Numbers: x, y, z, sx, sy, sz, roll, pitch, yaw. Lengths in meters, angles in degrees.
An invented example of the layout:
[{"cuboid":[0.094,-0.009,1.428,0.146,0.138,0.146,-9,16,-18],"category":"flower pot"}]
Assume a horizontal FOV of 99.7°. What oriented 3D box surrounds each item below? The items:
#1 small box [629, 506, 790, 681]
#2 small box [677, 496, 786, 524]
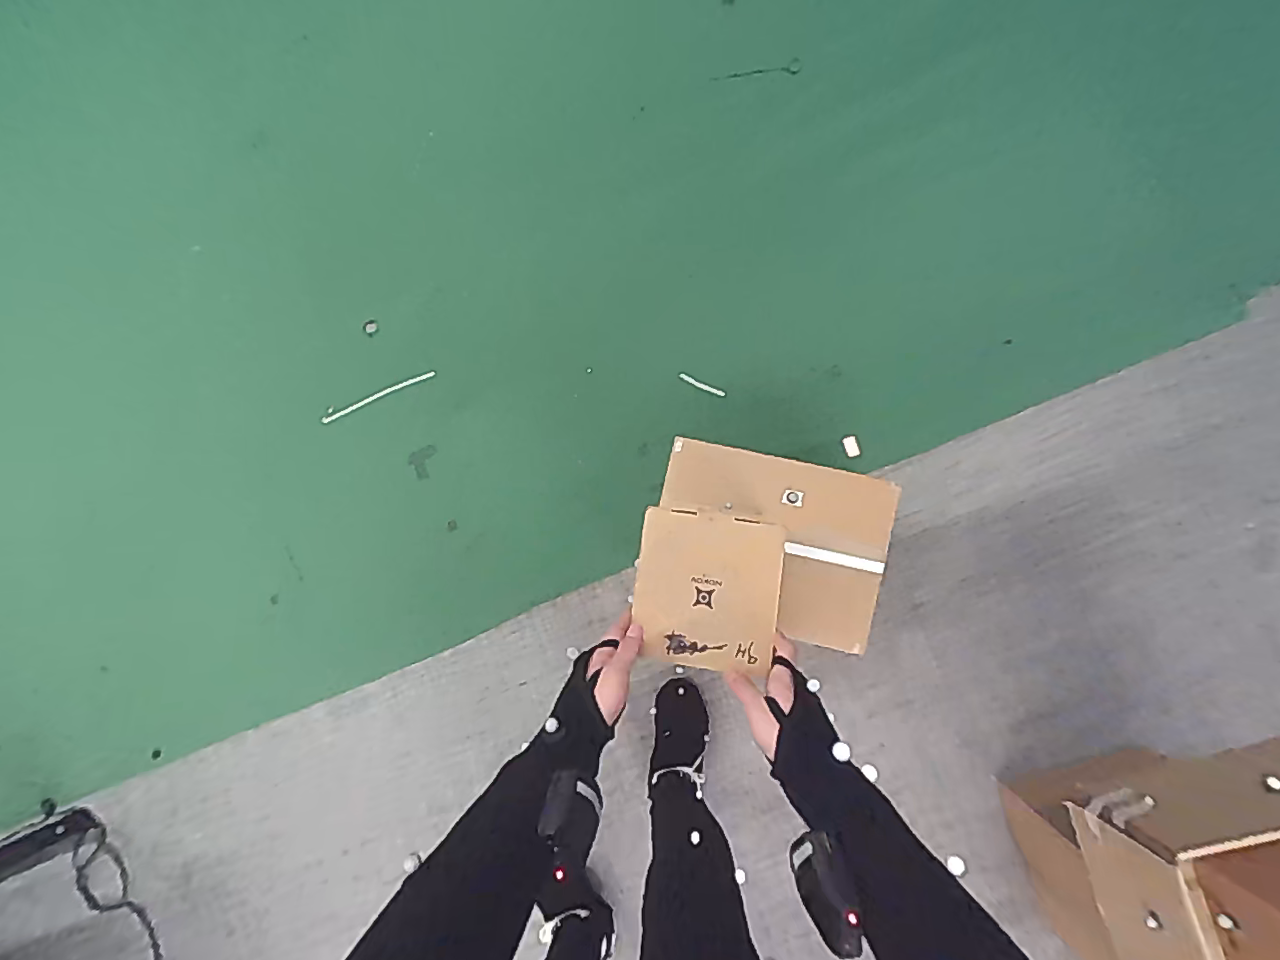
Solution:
[{"cuboid":[0.088,0.139,0.693,0.168,0.176,0.179,7,82,9],"category":"small box"},{"cuboid":[0.125,0.129,0.874,0.168,0.176,0.179,12,87,6],"category":"small box"}]
